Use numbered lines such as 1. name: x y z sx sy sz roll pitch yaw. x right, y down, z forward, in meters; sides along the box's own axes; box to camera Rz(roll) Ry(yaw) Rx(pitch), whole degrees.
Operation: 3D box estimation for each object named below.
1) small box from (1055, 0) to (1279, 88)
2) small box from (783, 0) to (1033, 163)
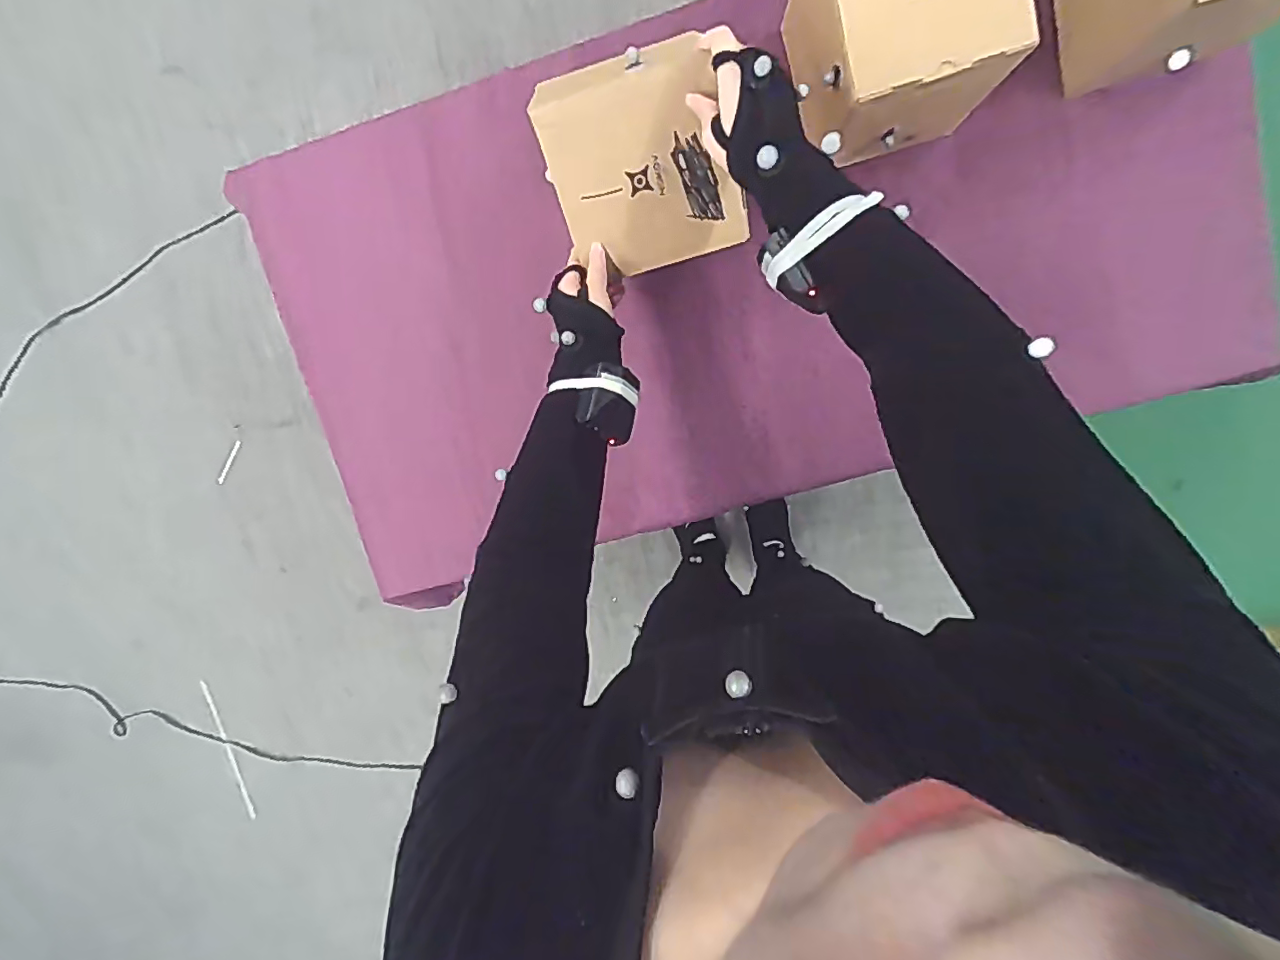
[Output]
1. small box: 0.537 -0.532 0.521 0.168 0.176 0.179 -12 101 7
2. small box: 0.257 -0.470 0.558 0.168 0.176 0.179 -15 99 6
